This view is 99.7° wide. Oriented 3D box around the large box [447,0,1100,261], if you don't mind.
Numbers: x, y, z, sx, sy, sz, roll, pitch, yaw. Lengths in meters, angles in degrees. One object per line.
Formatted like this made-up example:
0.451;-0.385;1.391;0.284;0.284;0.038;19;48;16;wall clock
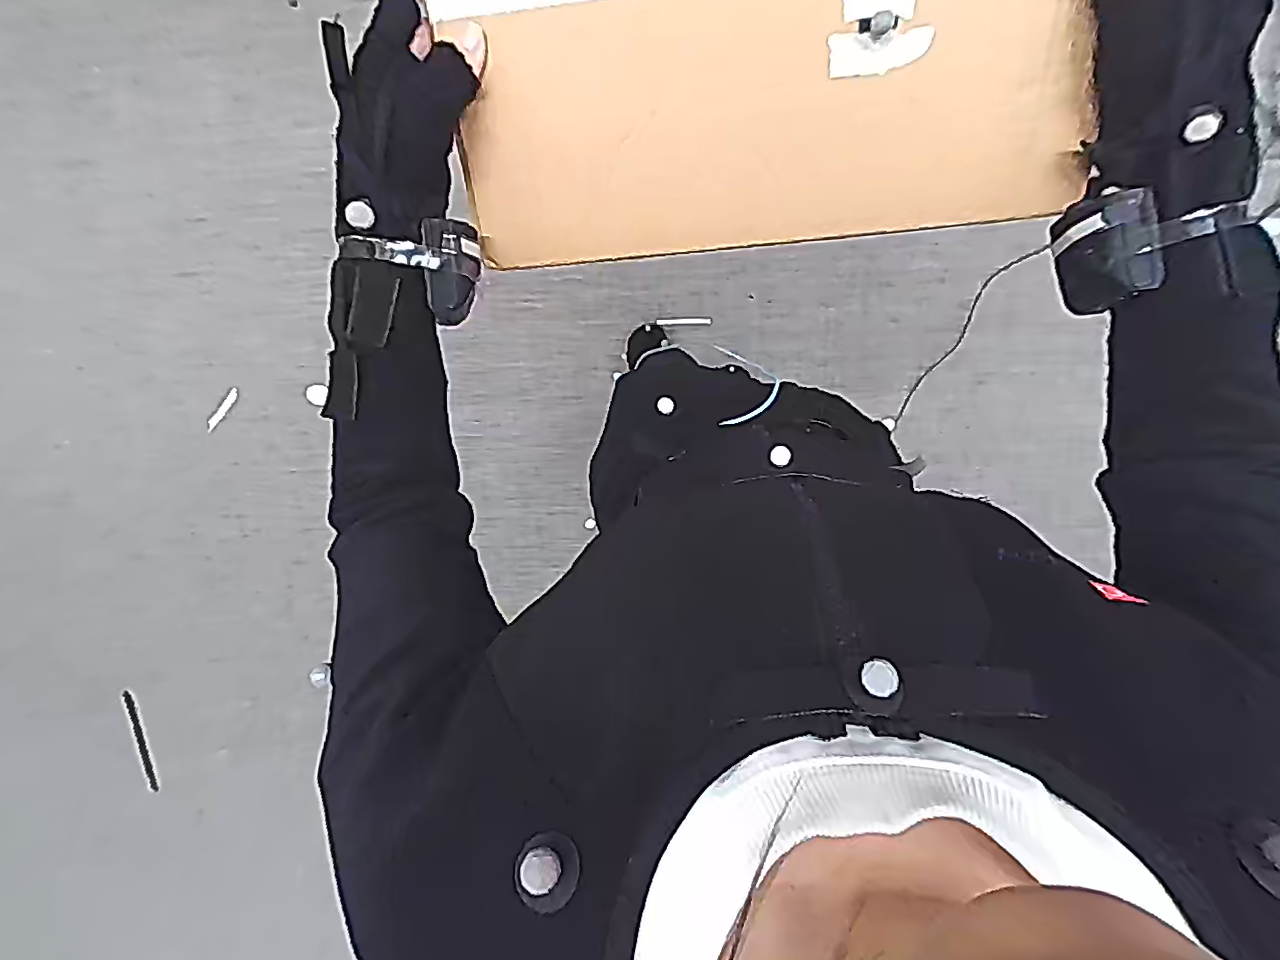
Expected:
0.082;-0.381;0.456;0.408;0.320;0.320;-3;116;6;large box

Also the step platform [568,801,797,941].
0.123;1.184;1.648;0.684;0.204;0.286;-1;103;7;step platform
